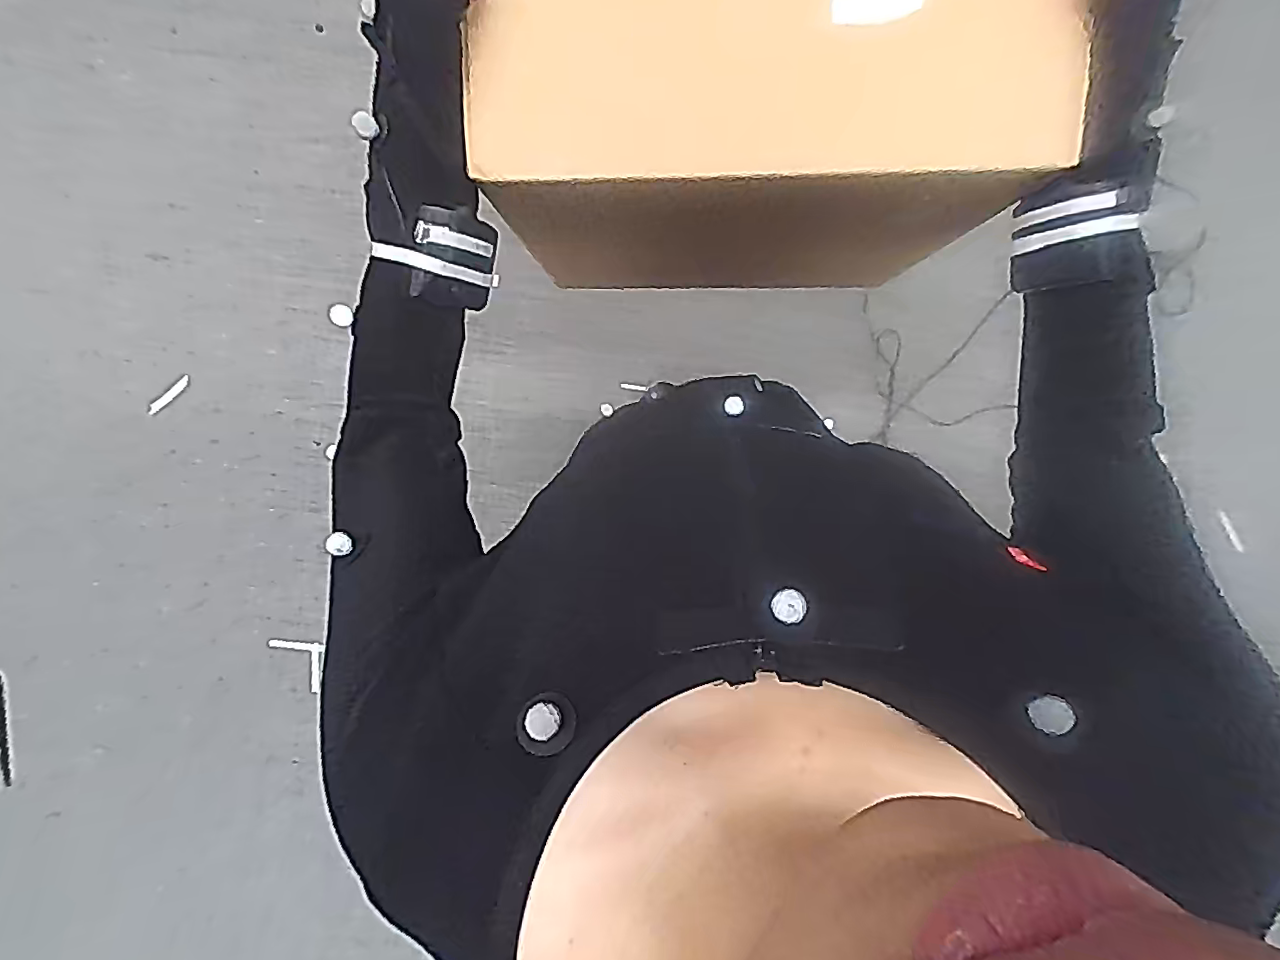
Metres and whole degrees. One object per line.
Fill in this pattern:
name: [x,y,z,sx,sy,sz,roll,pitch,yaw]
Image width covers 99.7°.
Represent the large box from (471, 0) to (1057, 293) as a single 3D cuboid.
large box: [0.084,-0.378,0.513,0.408,0.320,0.320,-1,96,2]
